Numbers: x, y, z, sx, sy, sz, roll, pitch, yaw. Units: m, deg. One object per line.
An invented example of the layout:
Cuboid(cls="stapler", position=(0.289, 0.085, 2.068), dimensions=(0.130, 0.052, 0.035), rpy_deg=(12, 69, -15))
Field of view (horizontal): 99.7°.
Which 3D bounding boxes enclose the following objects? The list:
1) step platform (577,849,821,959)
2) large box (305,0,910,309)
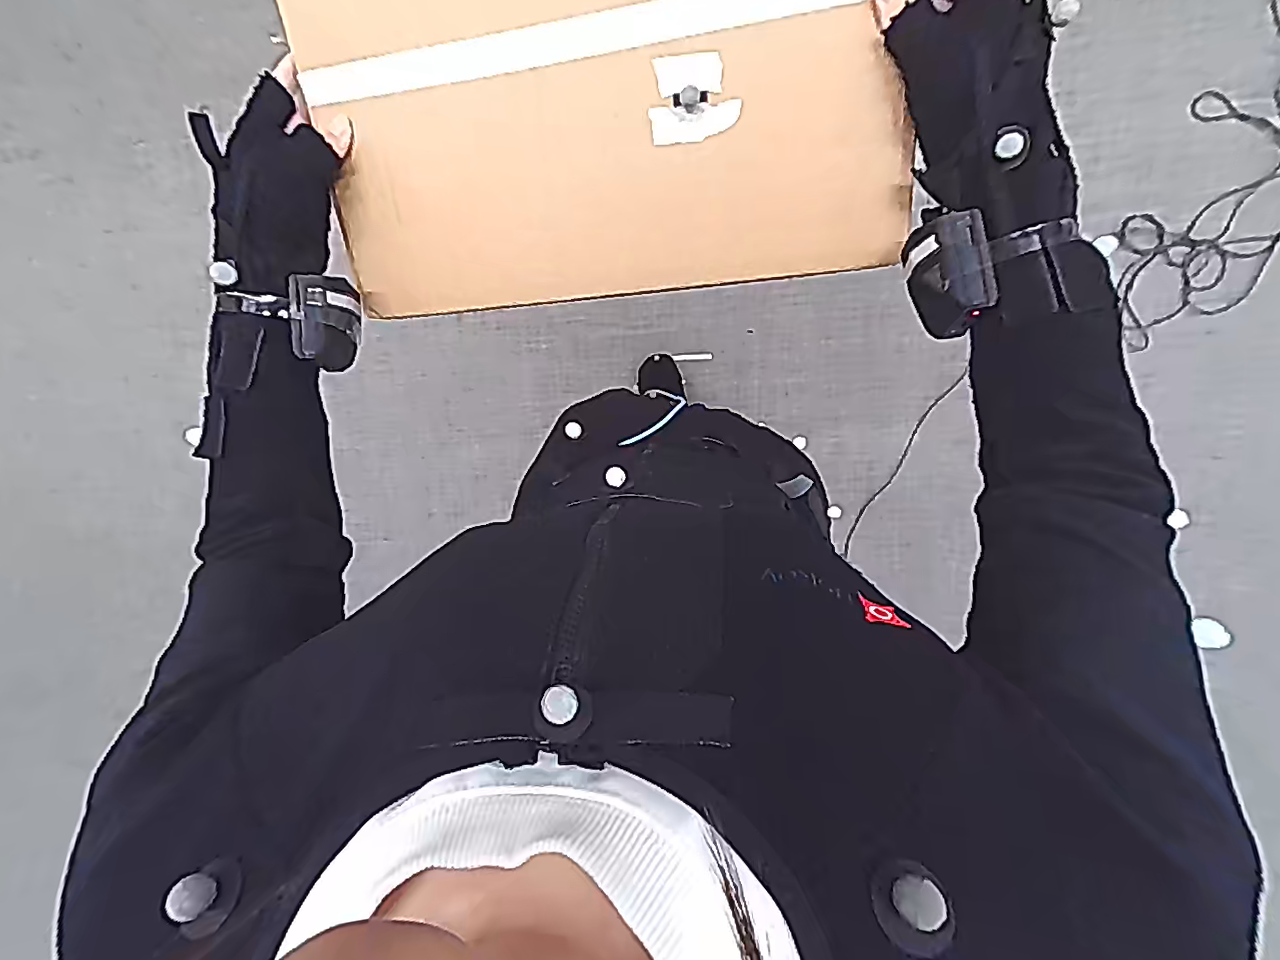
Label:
Cuboid(cls="step platform", position=(0.162, 1.284, 1.556), dimensions=(0.684, 0.204, 0.286), rpy_deg=(-2, 99, 10))
Cuboid(cls="large box", position=(-0.013, -0.348, 0.495), dimensions=(0.408, 0.320, 0.320), rpy_deg=(-3, 111, 10))
